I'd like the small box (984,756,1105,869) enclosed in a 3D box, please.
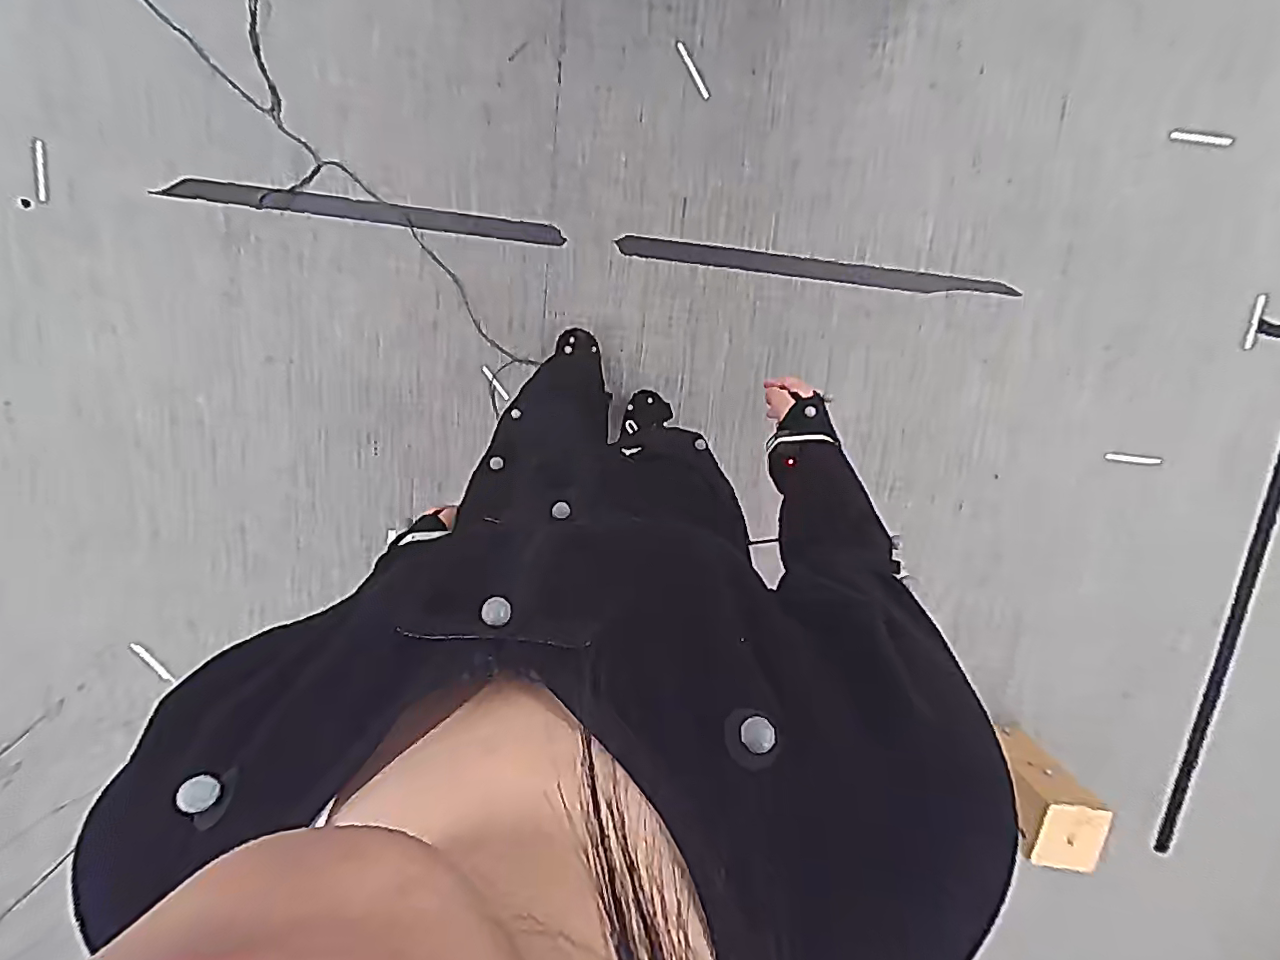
[{"bbox_3d":[1.040,0.860,1.409,0.168,0.176,0.179,10,100,-3],"label":"small box"}]
